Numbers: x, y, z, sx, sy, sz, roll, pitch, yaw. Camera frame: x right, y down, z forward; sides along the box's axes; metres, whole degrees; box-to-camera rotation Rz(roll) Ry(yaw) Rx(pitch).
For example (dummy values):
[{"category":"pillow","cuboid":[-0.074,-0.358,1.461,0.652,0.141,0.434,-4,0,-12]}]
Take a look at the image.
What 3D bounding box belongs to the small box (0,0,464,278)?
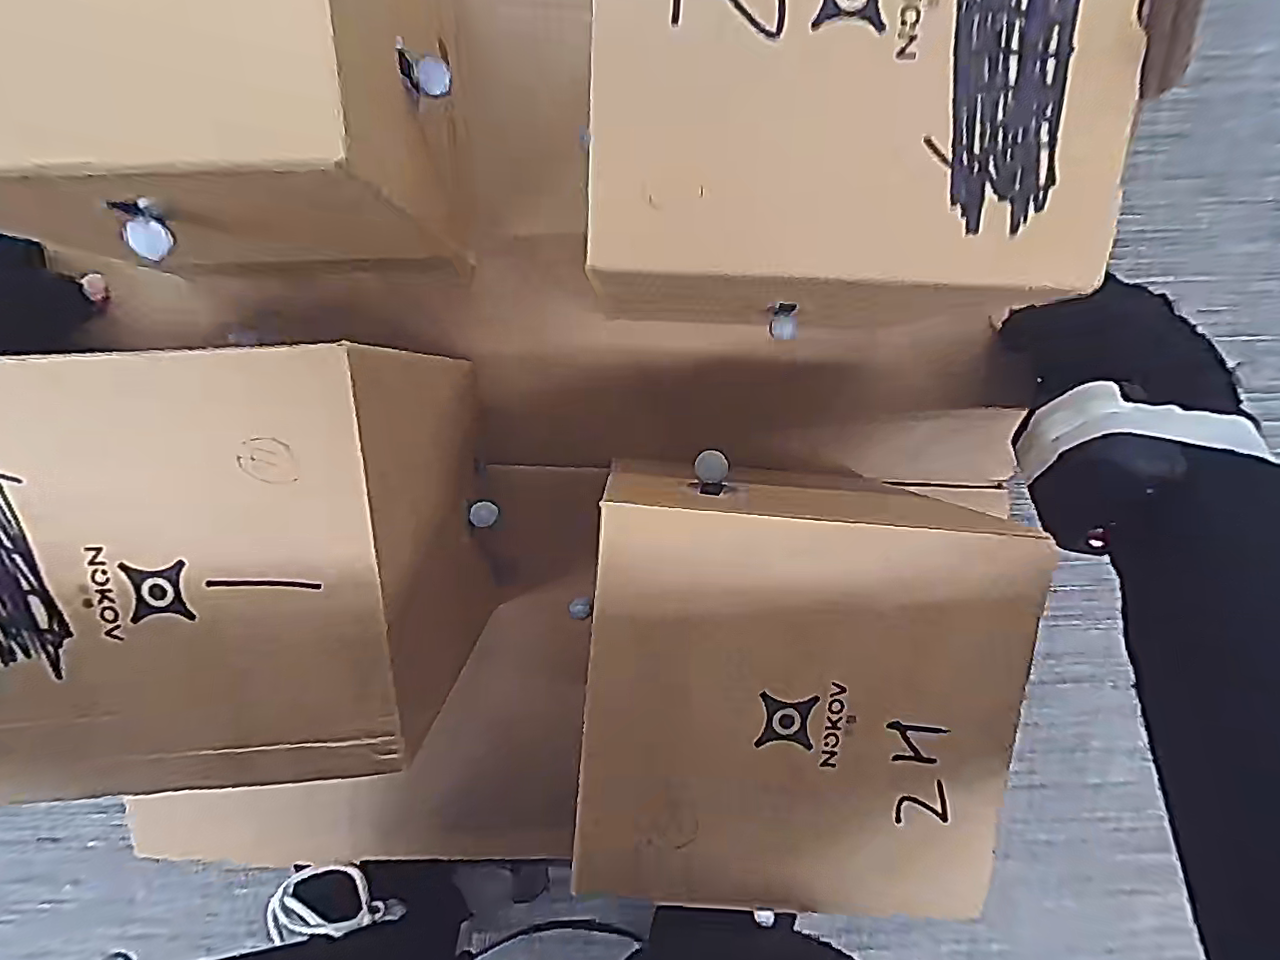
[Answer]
[{"category":"small box","cuboid":[-0.187,-0.192,0.240,0.179,0.176,0.168,-3,100,-1]}]
